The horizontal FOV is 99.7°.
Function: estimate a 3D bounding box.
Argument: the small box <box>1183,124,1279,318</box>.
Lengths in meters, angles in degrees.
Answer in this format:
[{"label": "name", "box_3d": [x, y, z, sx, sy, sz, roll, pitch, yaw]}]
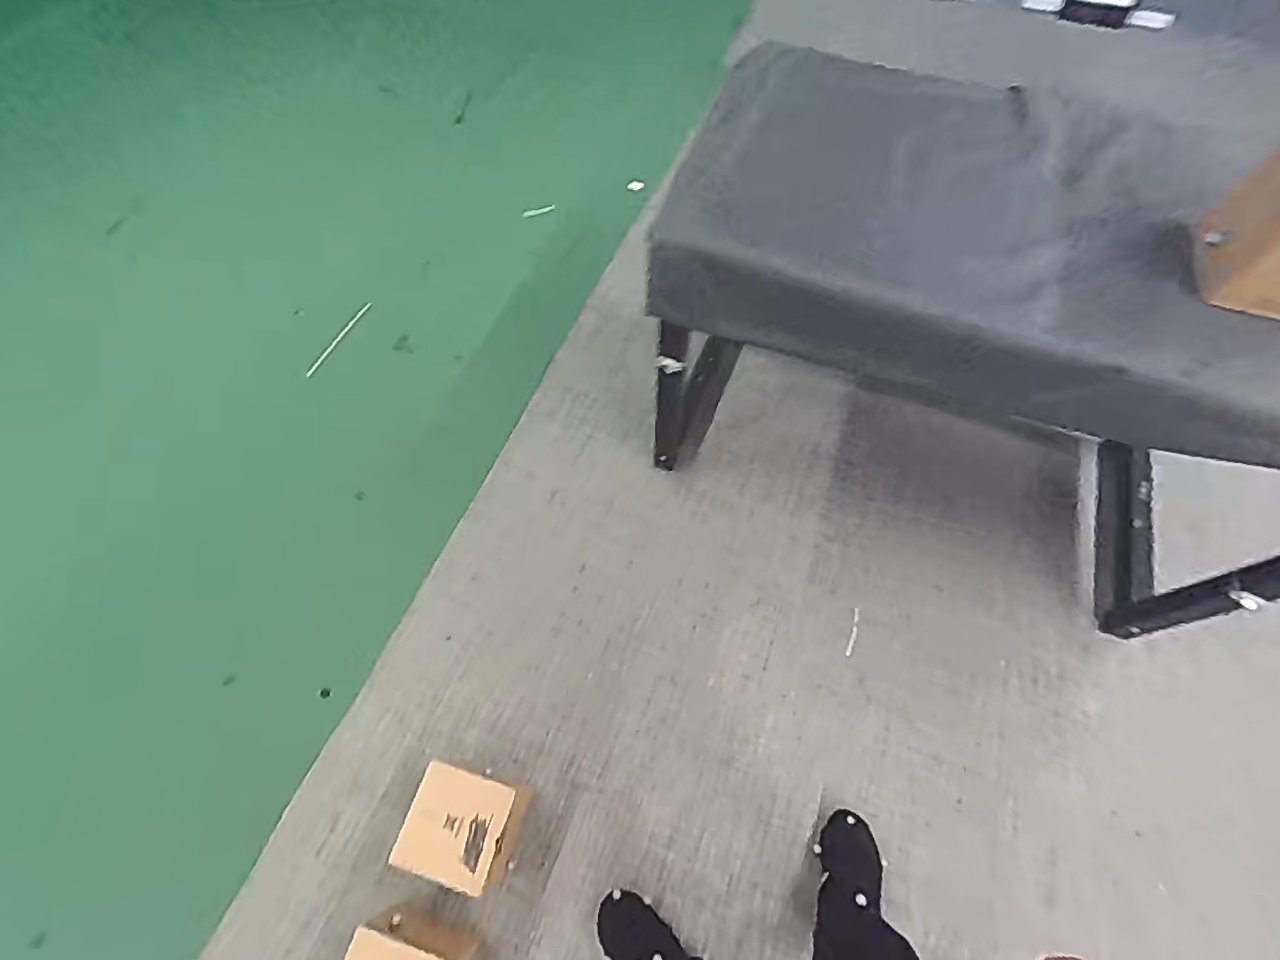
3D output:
[{"label": "small box", "box_3d": [0.864, -0.331, 0.698, 0.168, 0.176, 0.179, 17, 64, 9]}]

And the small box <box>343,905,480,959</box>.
[{"label": "small box", "box_3d": [-0.397, 0.849, 0.907, 0.179, 0.176, 0.168, 14, 64, 8]}]

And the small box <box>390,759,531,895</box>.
[{"label": "small box", "box_3d": [-0.323, 0.640, 1.018, 0.179, 0.176, 0.168, 14, 62, 9]}]
